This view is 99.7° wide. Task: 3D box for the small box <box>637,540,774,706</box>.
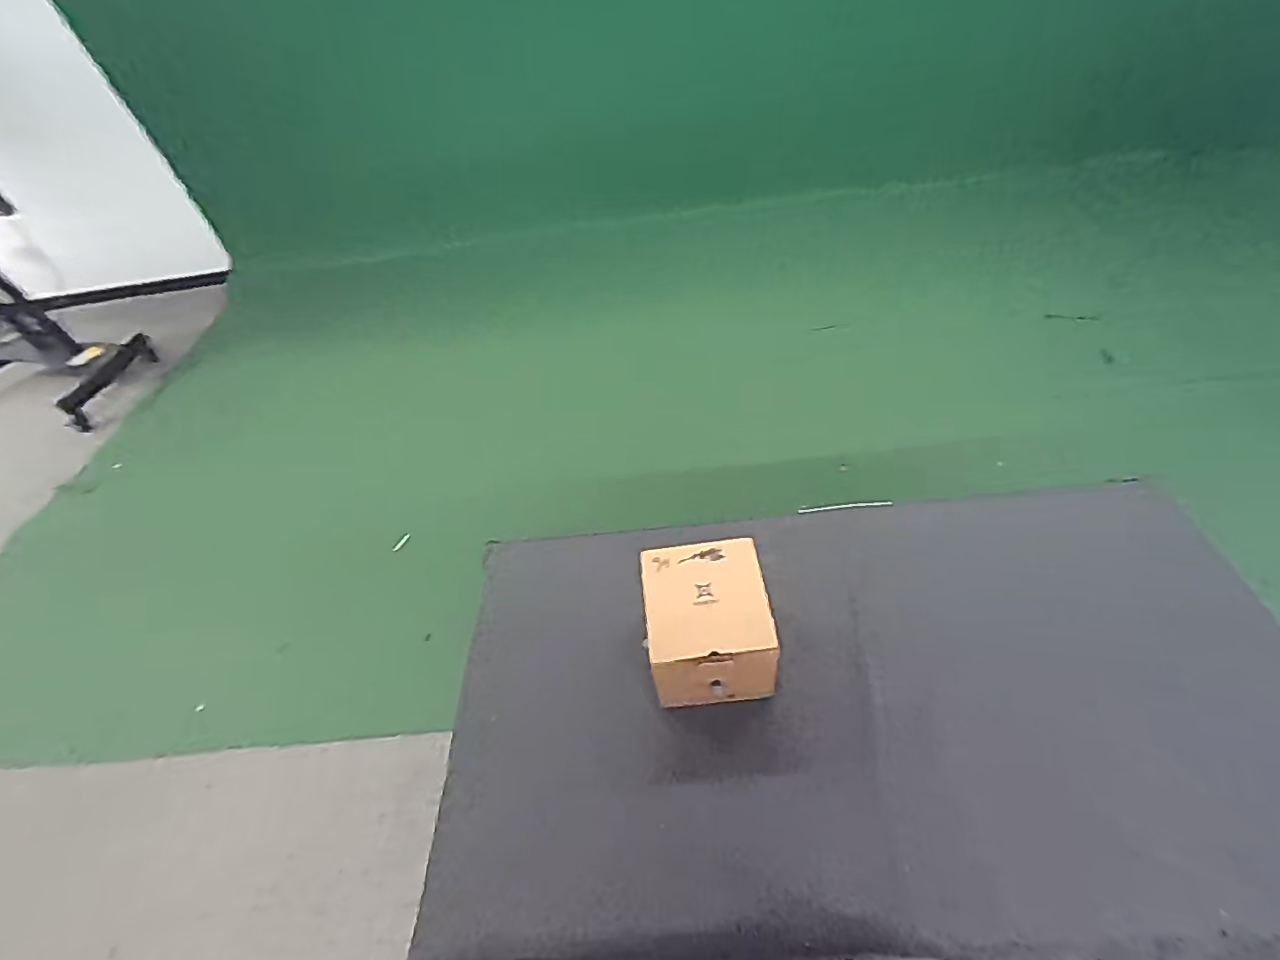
[{"bbox_3d":[0.096,0.219,0.803,0.168,0.176,0.179,-11,48,1],"label":"small box"}]
